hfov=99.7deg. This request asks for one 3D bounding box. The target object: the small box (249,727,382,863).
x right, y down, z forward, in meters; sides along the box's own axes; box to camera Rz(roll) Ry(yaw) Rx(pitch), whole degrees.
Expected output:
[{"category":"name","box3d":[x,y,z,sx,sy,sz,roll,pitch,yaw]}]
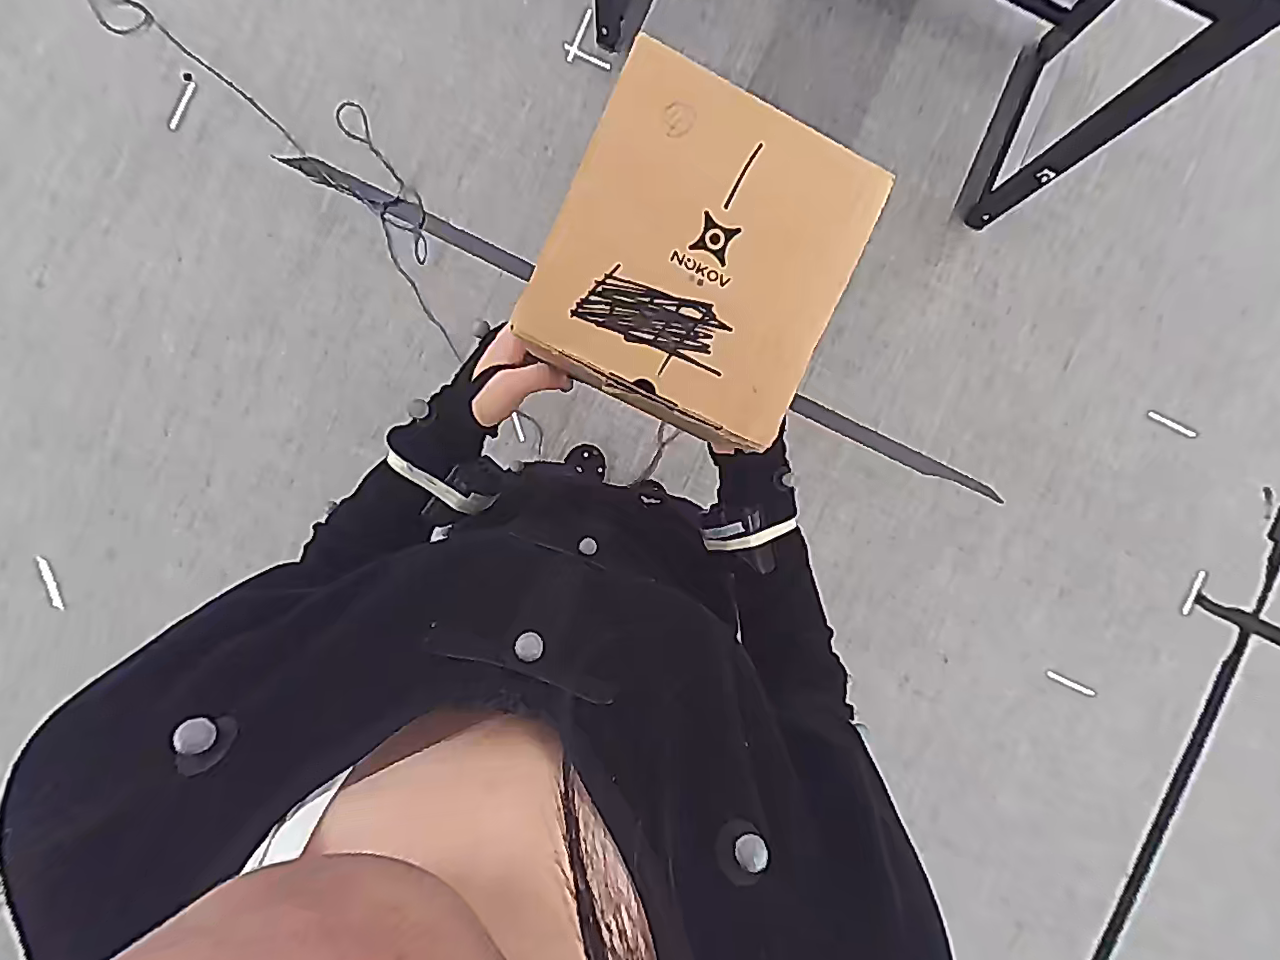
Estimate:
[{"category":"small box","box3d":[-0.724,0.706,1.230,0.168,0.176,0.179,27,88,-3]}]

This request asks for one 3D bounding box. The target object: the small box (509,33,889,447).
[{"category":"small box","box3d":[0.029,-0.138,0.384,0.168,0.176,0.179,25,93,-8]}]
